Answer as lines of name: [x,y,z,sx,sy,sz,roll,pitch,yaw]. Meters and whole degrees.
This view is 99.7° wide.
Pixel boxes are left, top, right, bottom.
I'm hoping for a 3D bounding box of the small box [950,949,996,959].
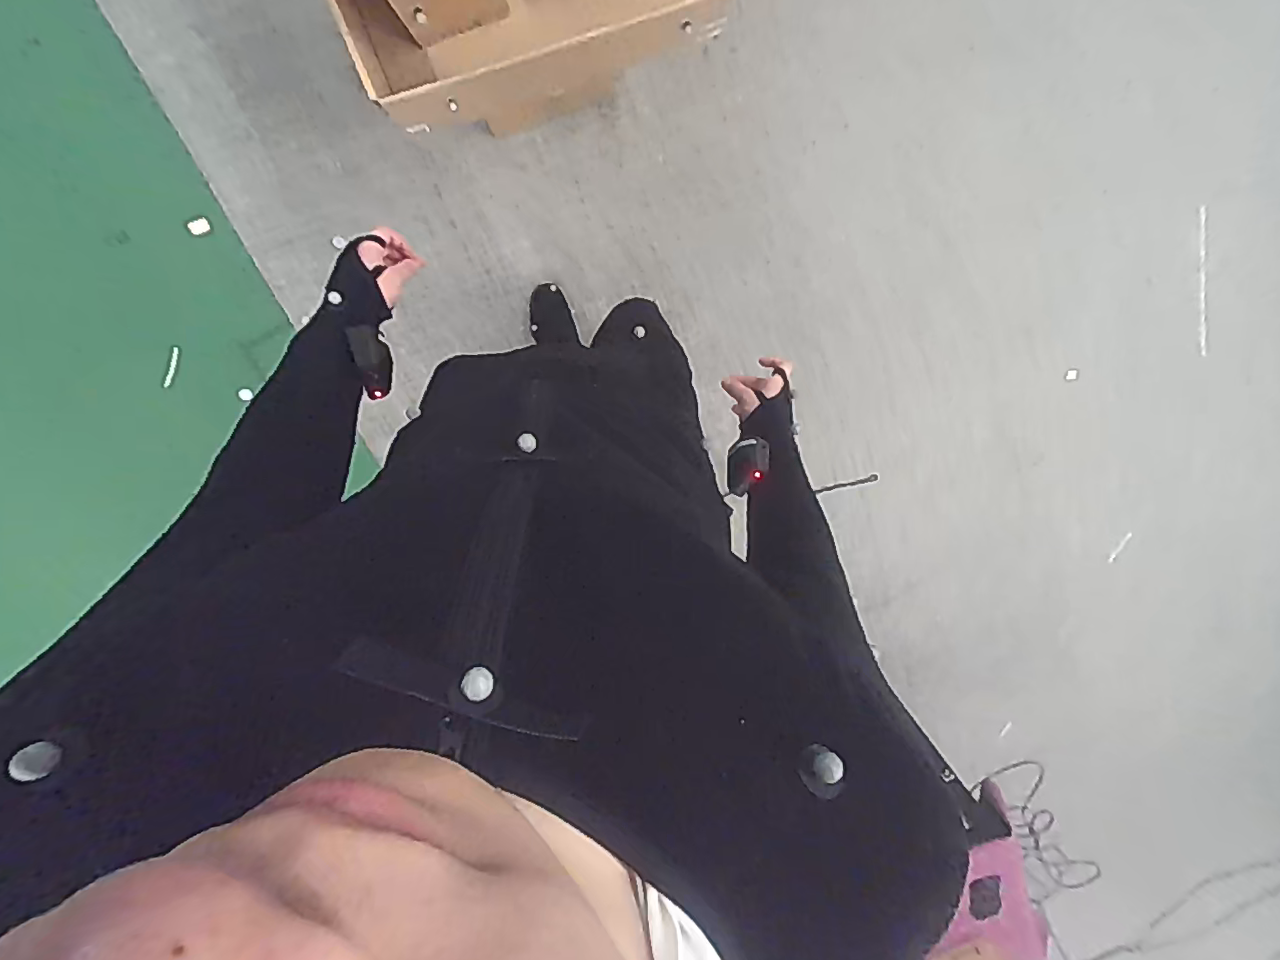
small box: [0.916,1.393,1.429,0.168,0.176,0.179,-27,111,4]
